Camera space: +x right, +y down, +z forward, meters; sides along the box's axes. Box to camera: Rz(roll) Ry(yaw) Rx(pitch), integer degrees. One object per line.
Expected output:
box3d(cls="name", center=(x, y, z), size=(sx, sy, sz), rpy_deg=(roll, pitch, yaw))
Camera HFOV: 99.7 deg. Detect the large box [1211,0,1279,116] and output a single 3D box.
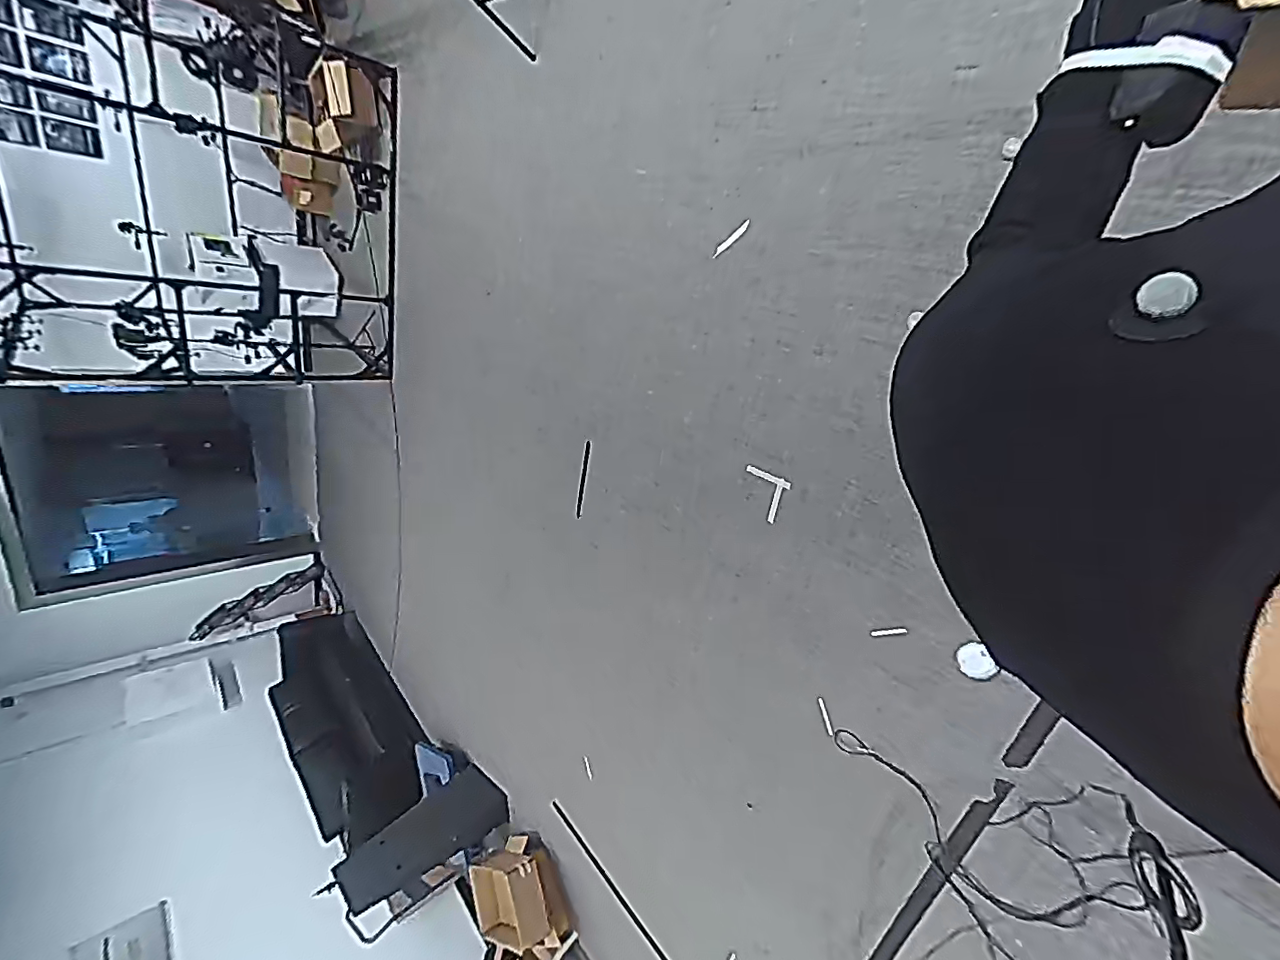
box3d(cls="large box", center=(0.611, -0.393, 0.253), size=(0.408, 0.320, 0.320), rpy_deg=(28, 124, 38))
